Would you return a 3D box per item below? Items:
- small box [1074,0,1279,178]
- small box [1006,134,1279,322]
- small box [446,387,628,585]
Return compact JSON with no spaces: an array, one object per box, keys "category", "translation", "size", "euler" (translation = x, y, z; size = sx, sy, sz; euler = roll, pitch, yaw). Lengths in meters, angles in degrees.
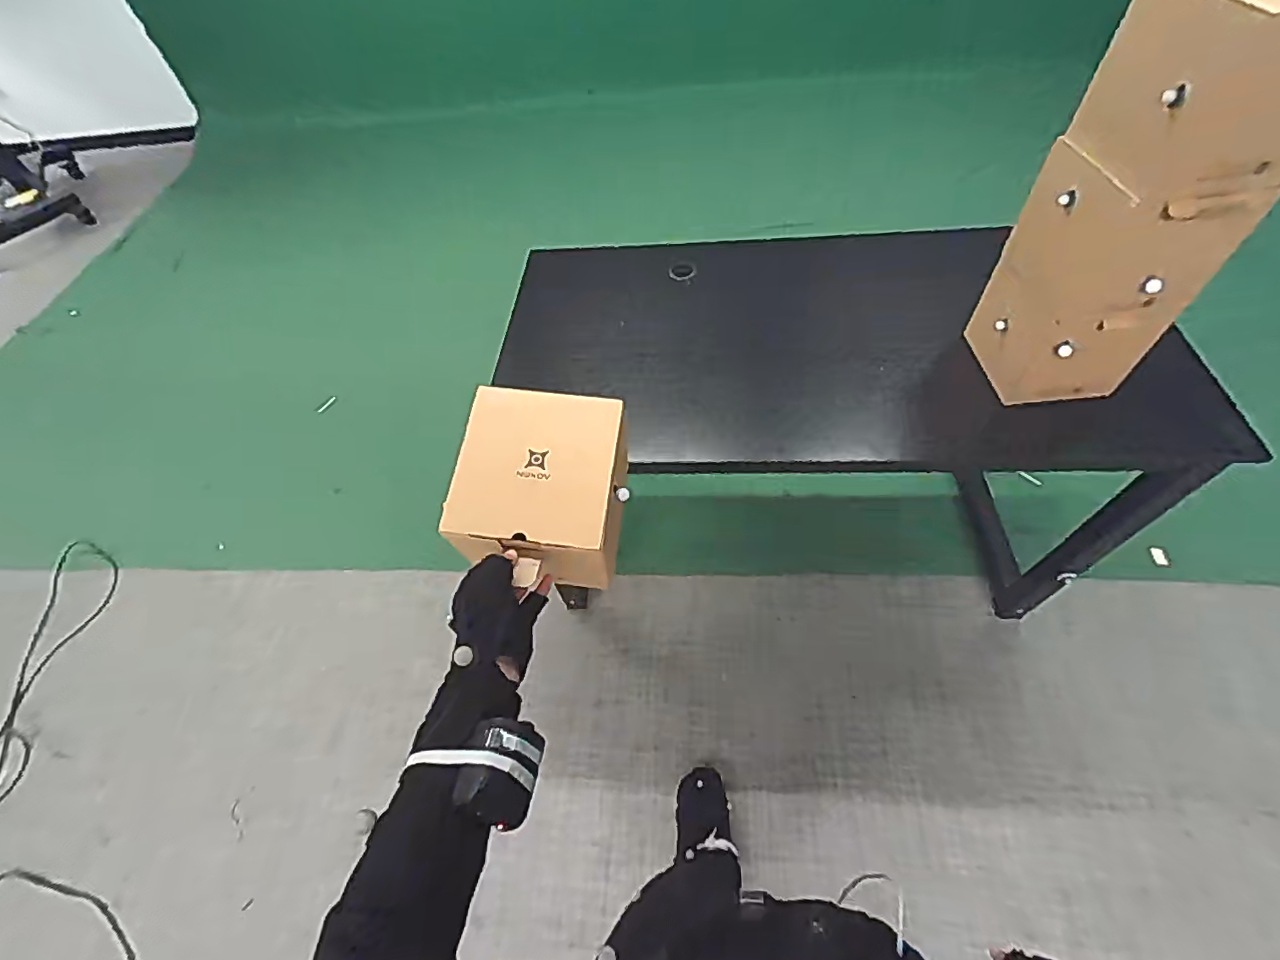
[{"category":"small box","translation":[0.618,-0.437,0.565],"size":[0.168,0.176,0.179],"euler":[-7,54,2]},{"category":"small box","translation":[0.630,-0.335,0.712],"size":[0.168,0.176,0.179],"euler":[-7,55,3]},{"category":"small box","translation":[-0.106,0.014,0.645],"size":[0.168,0.176,0.179],"euler":[6,67,2]}]
